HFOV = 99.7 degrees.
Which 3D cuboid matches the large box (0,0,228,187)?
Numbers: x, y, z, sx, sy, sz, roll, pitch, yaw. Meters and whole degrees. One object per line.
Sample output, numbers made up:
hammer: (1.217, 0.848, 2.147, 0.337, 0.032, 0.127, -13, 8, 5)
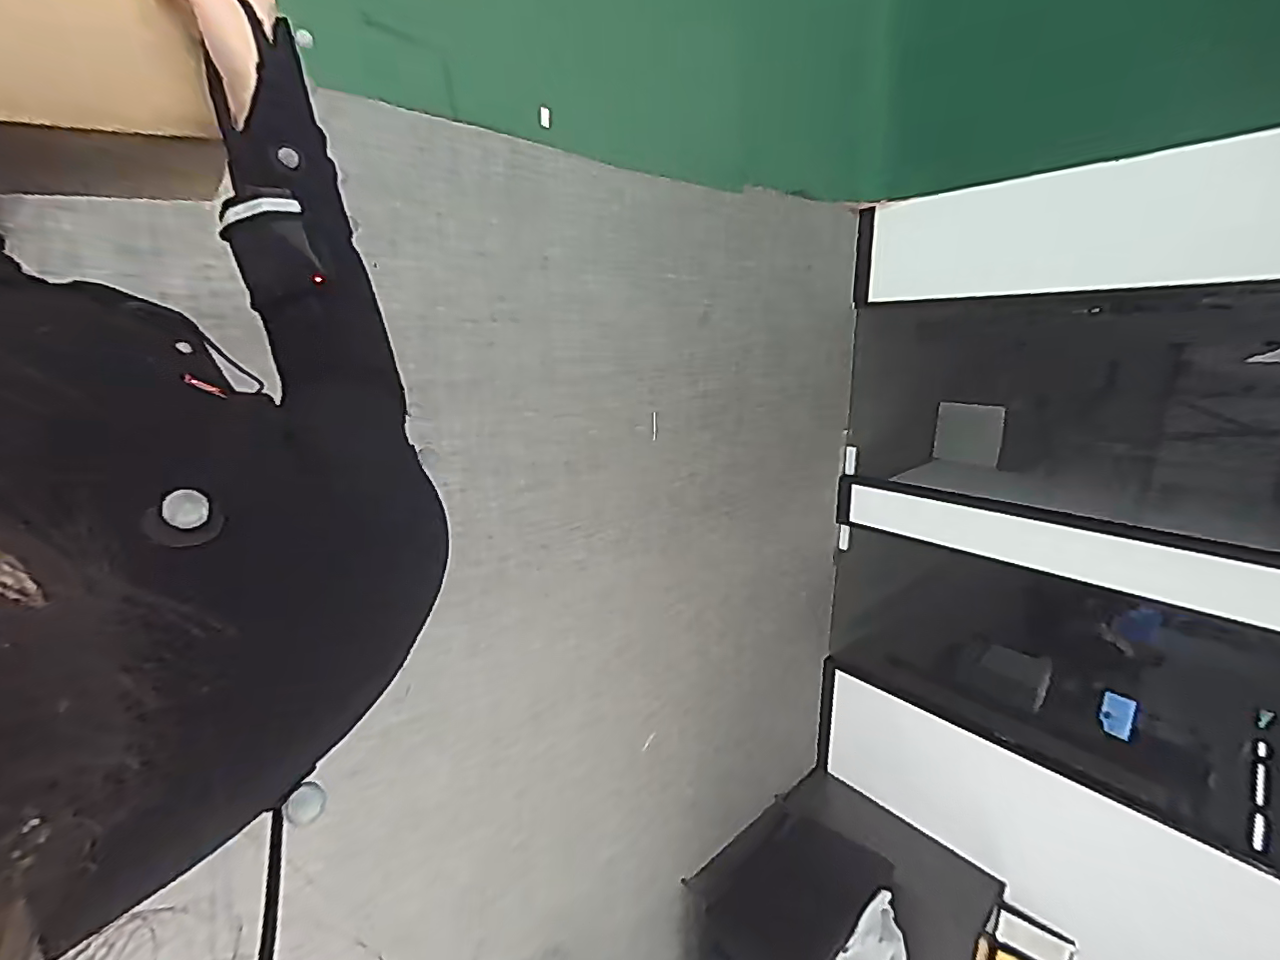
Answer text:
large box: (-0.562, -0.384, 0.349, 0.408, 0.320, 0.320, -19, 115, -34)
